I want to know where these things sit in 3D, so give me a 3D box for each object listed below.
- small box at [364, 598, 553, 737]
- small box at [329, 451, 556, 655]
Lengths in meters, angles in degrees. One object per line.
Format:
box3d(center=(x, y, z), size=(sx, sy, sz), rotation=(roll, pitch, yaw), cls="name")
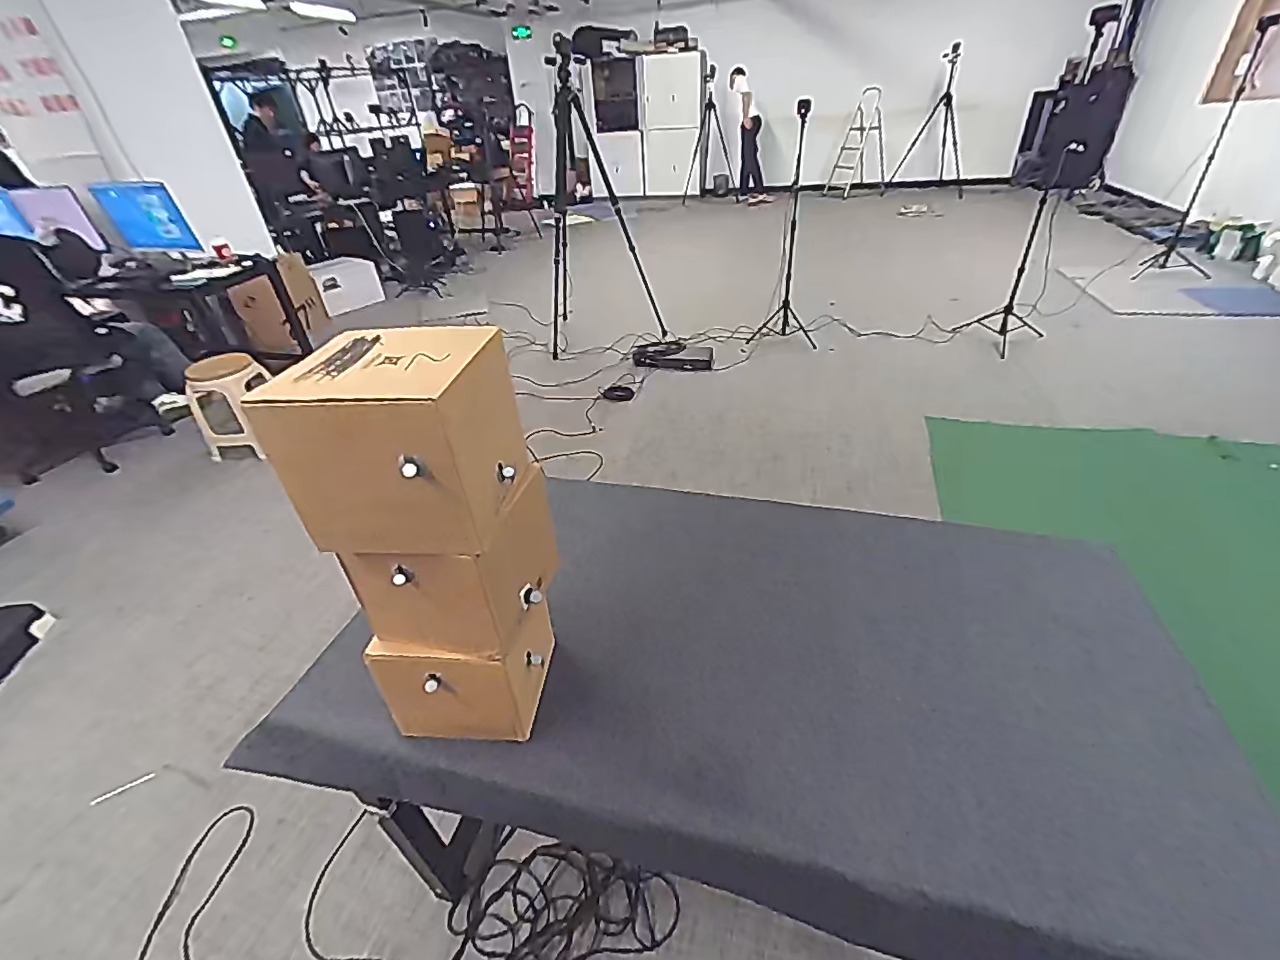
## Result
box3d(center=(-0.225, 0.224, 0.729), size=(0.179, 0.176, 0.168), rotation=(0, 34, 6), cls="small box")
box3d(center=(-0.216, 0.084, 0.645), size=(0.179, 0.176, 0.168), rotation=(6, 37, 13), cls="small box")
